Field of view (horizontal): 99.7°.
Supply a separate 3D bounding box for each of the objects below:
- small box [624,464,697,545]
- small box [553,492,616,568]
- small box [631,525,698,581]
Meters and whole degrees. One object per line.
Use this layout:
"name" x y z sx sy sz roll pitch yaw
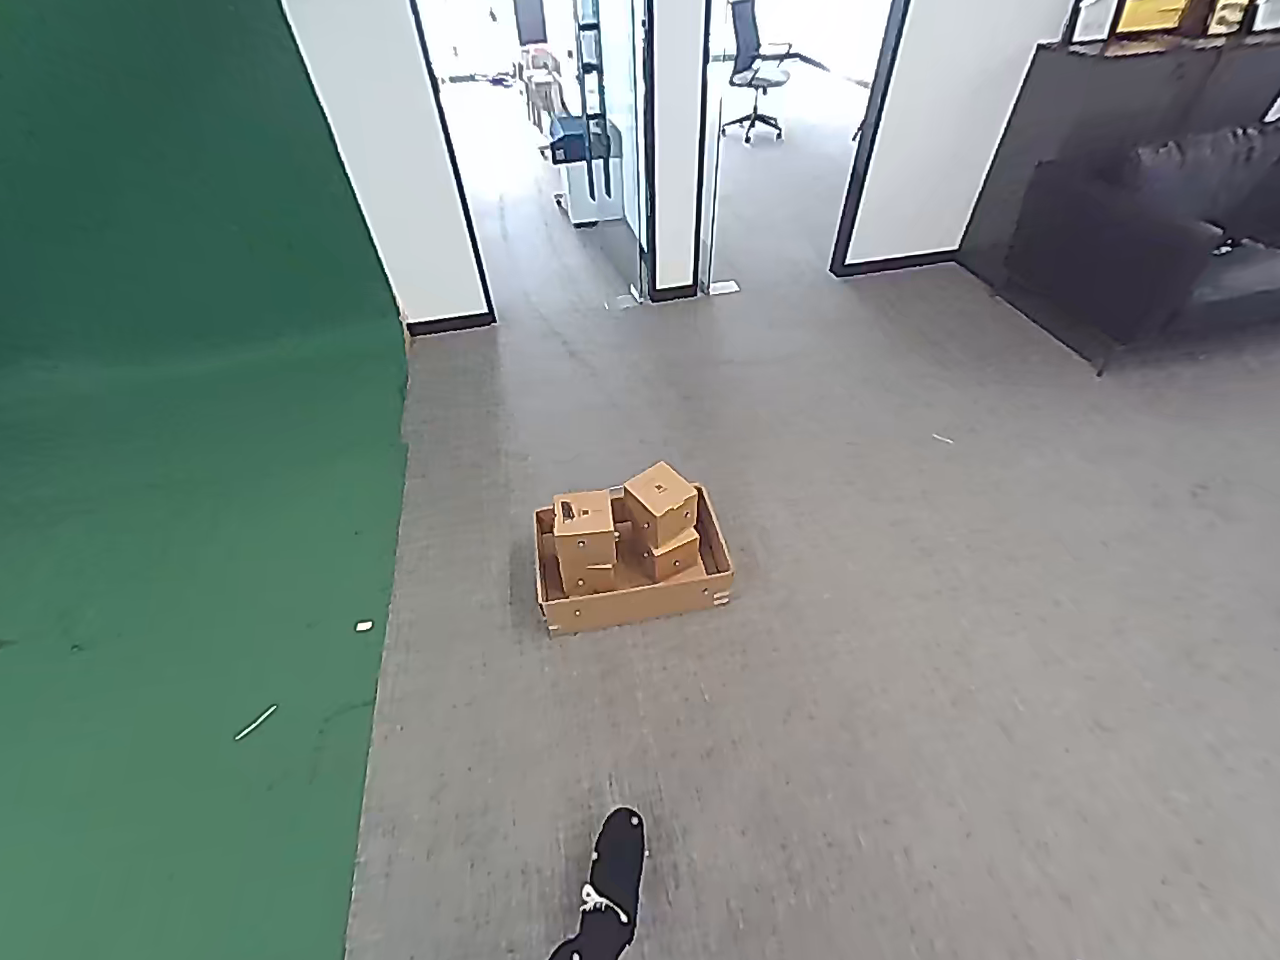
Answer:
"small box" 0.066 0.086 1.733 0.168 0.176 0.179 -30 52 -24
"small box" -0.170 0.158 1.671 0.179 0.176 0.168 -5 46 -5
"small box" 0.084 0.218 1.831 0.168 0.176 0.179 -21 49 -17
